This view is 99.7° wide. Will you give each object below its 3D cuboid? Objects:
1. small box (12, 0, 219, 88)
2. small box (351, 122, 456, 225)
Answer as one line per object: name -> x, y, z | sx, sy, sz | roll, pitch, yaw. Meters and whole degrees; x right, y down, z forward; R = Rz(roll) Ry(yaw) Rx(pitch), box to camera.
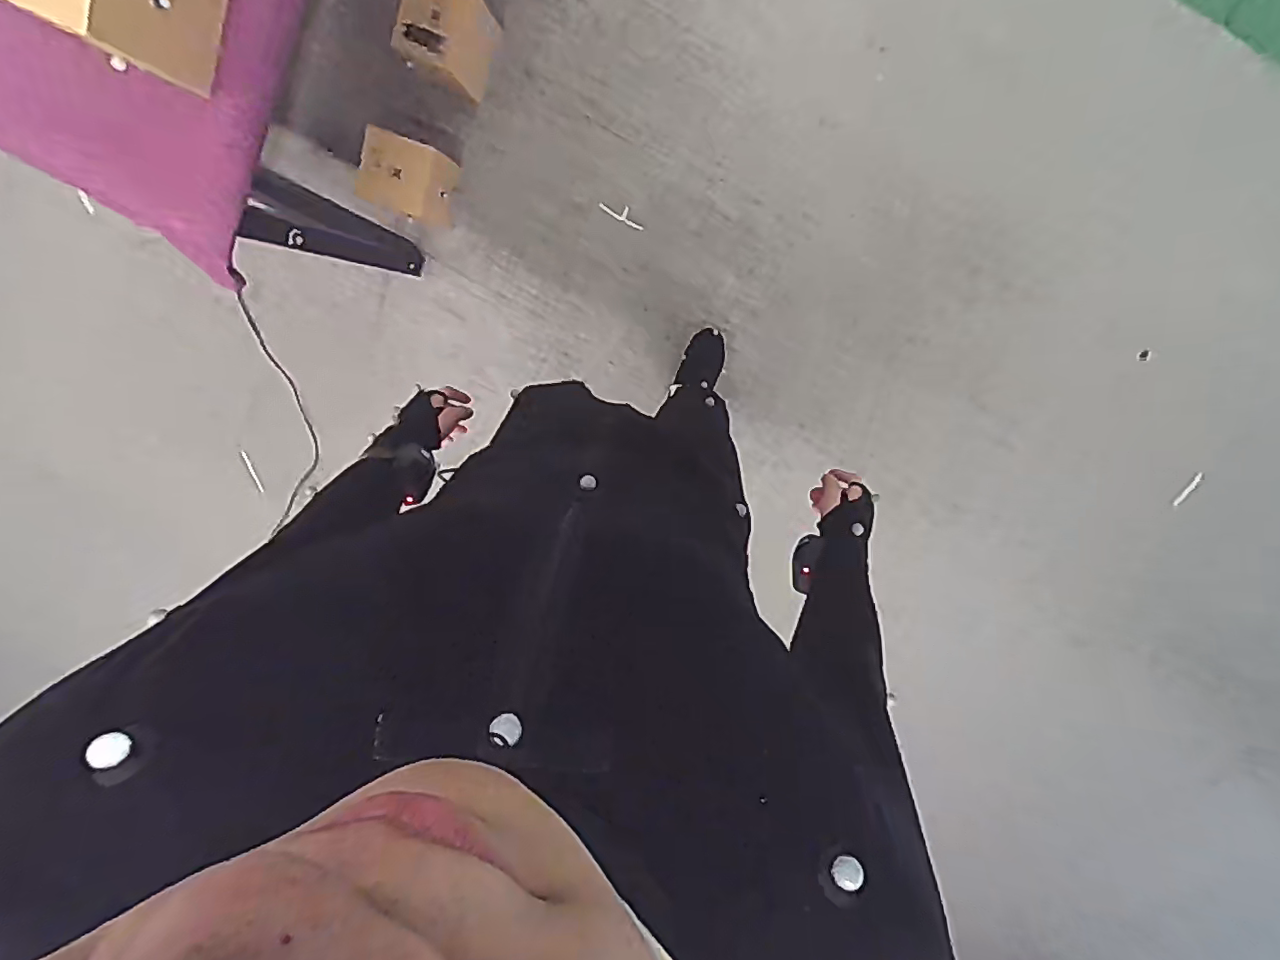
small box -> -0.666, -0.639, 0.665 | 0.168, 0.176, 0.179 | 25, 106, -1
small box -> -0.594, -0.769, 1.380 | 0.179, 0.176, 0.168 | 20, 105, -1
